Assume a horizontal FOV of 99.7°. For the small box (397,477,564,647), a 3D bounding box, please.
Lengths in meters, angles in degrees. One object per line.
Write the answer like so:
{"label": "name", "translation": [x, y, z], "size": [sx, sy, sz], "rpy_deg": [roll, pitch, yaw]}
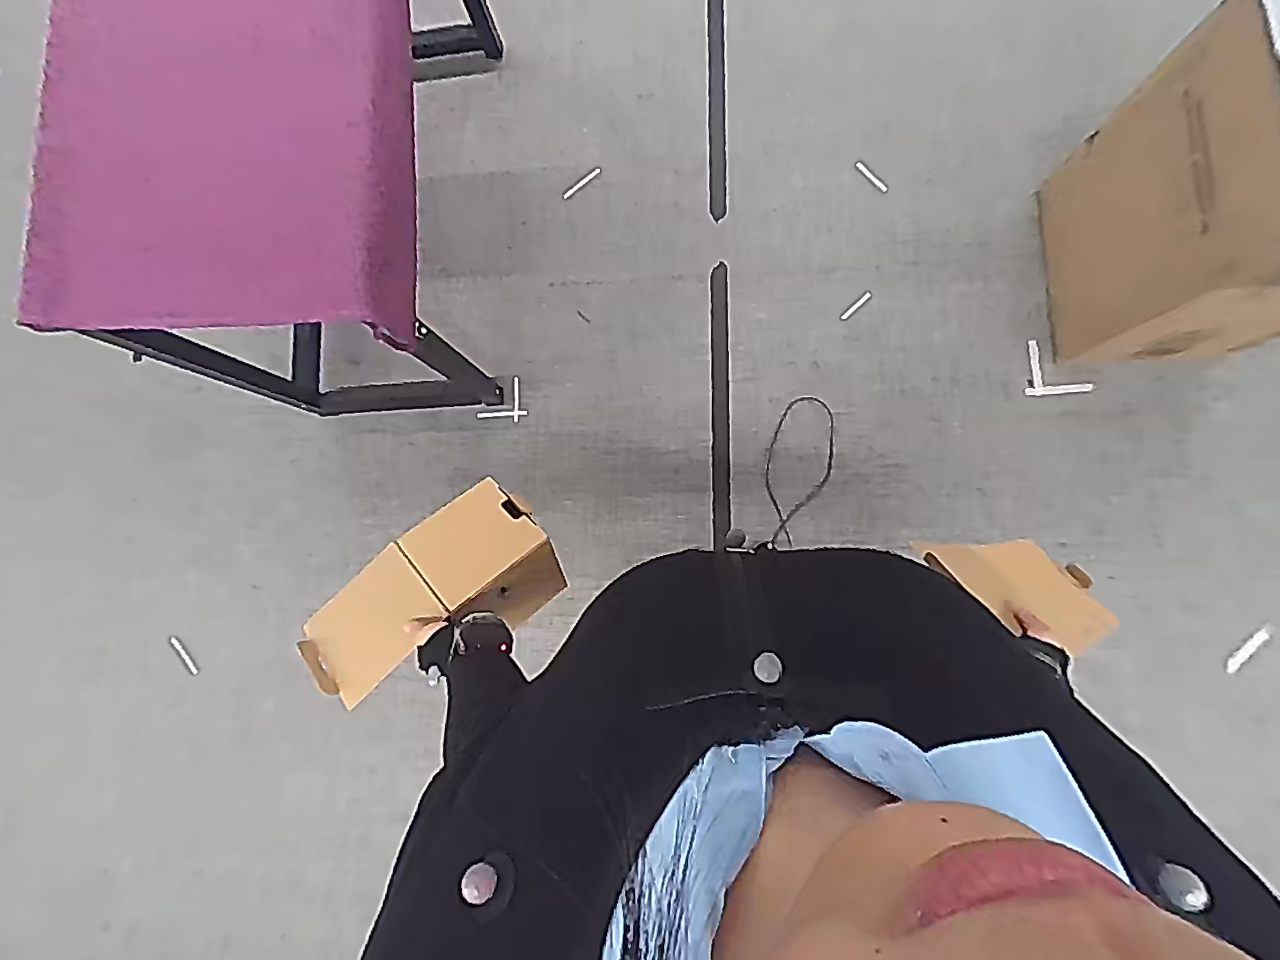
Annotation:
{"label": "small box", "translation": [-0.246, 0.136, 0.872], "size": [0.179, 0.176, 0.168], "rpy_deg": [-38, 60, -22]}
